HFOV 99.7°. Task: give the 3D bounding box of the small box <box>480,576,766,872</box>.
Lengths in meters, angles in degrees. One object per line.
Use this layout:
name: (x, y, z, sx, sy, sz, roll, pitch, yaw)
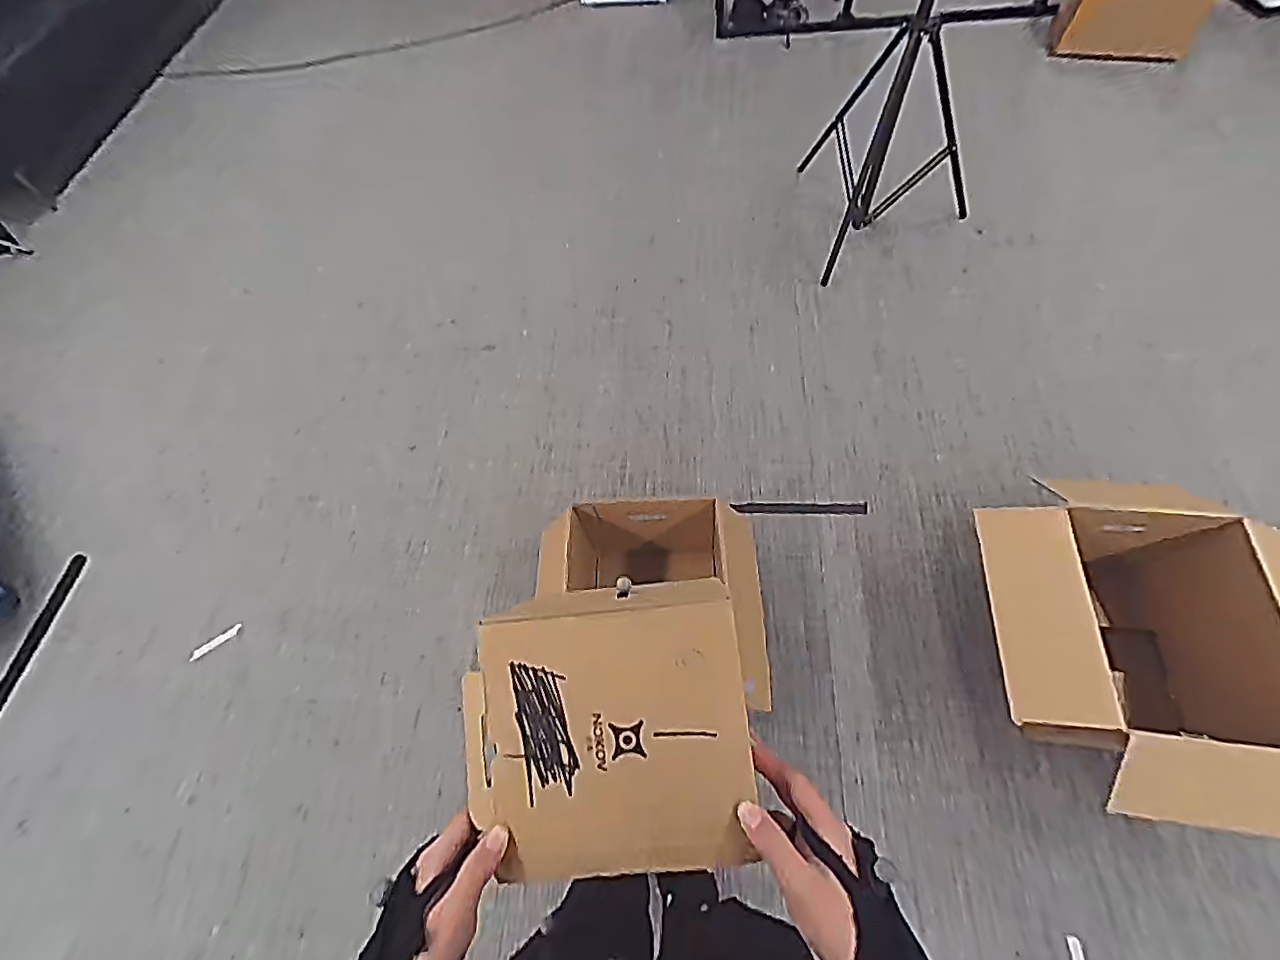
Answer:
small box: (-0.008, 0.170, 0.427, 0.179, 0.176, 0.168, -7, 84, 3)
